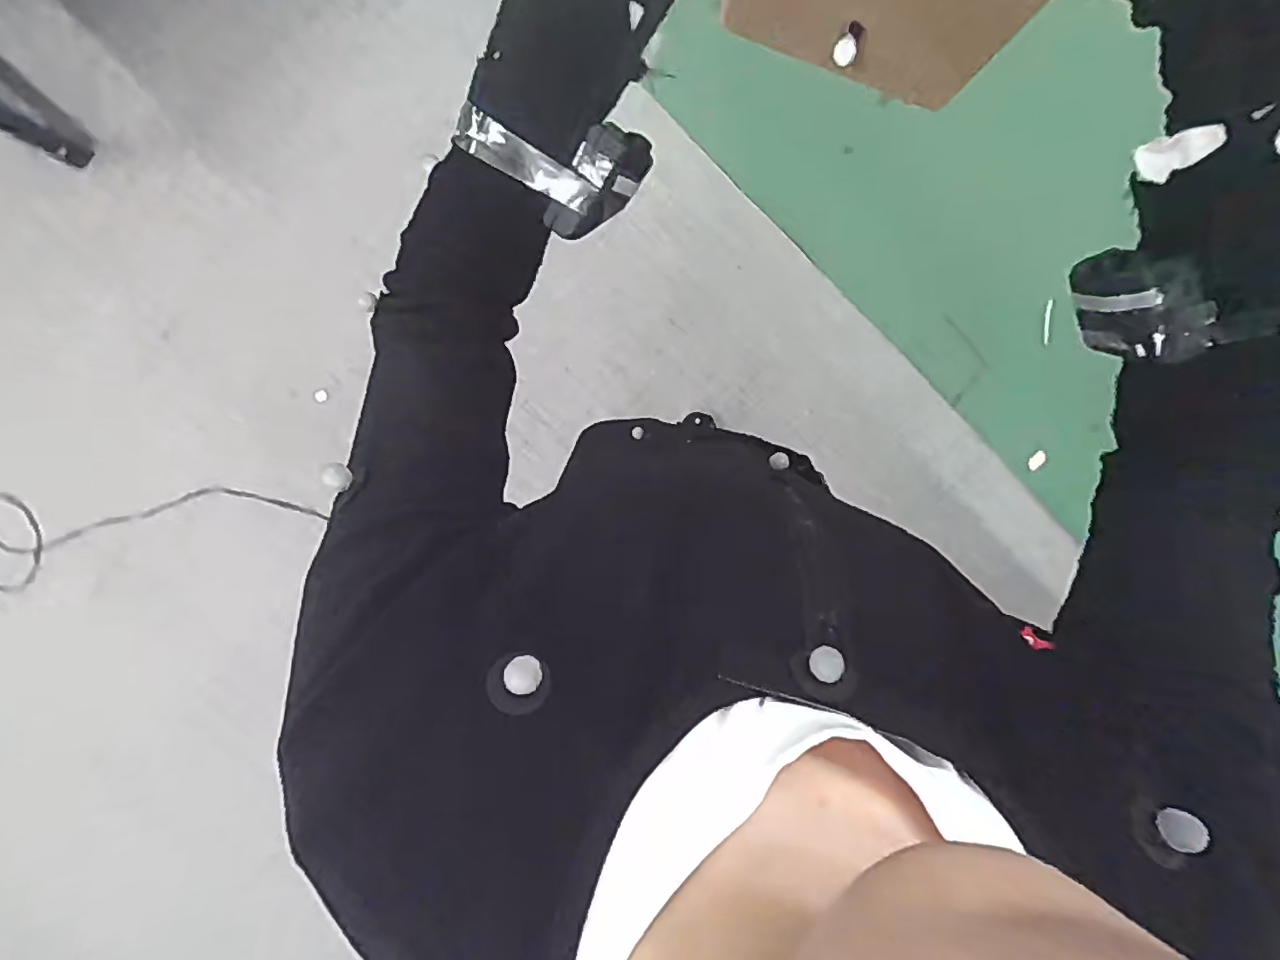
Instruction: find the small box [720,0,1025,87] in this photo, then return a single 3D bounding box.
[{"bbox_3d":[0.162,-0.369,0.301,0.179,0.176,0.168,18,95,-3],"label":"small box"}]
